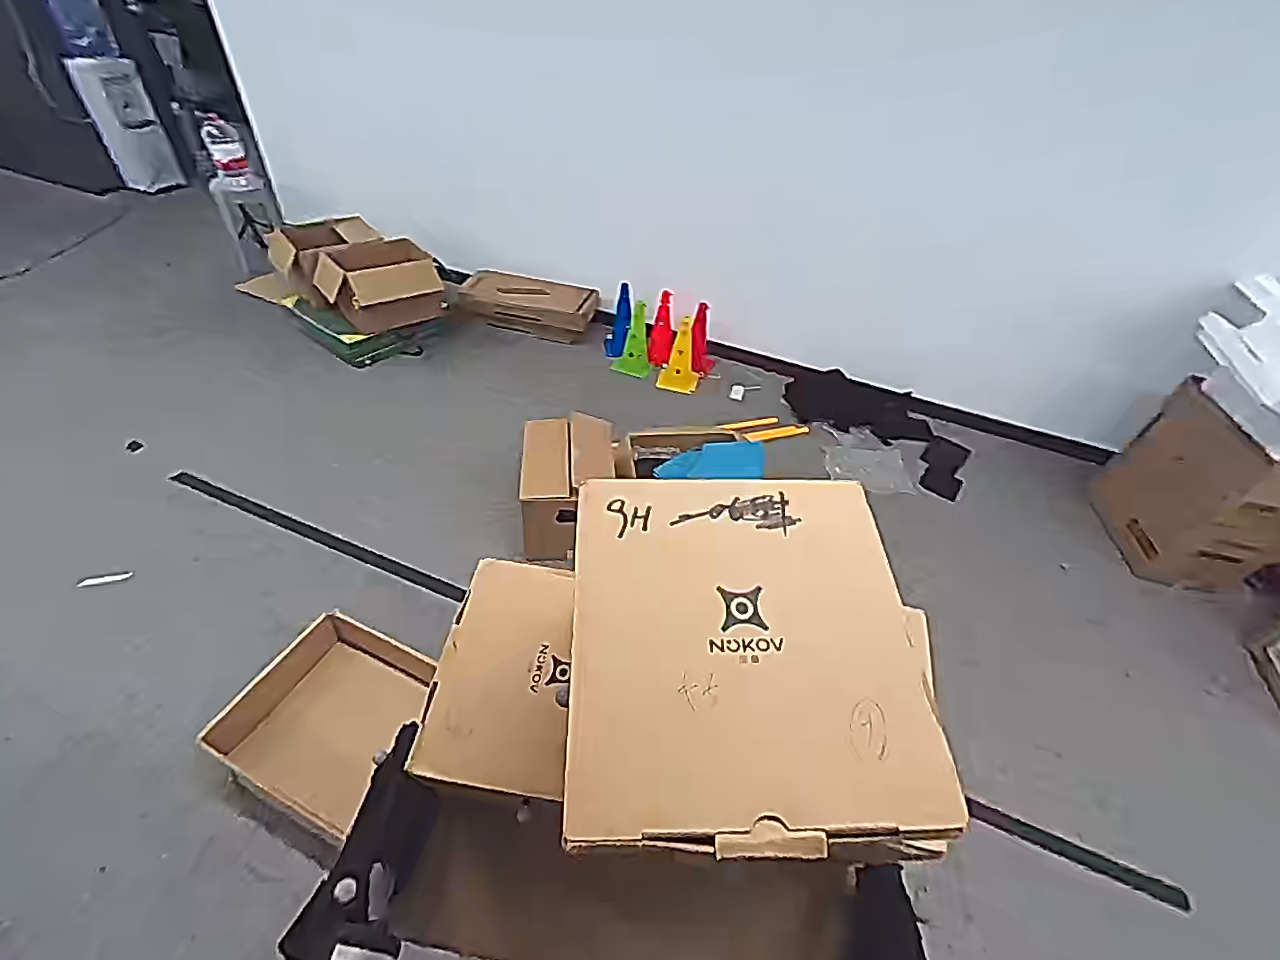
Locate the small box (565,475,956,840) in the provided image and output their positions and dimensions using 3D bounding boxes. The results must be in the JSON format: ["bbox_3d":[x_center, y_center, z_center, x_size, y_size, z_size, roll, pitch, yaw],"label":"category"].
[{"bbox_3d":[0.046,0.115,0.333,0.168,0.176,0.179,0,55,-4],"label":"small box"}]

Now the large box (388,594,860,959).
[{"bbox_3d":[-0.008,0.367,0.649,0.408,0.320,0.320,9,54,2],"label":"large box"}]
